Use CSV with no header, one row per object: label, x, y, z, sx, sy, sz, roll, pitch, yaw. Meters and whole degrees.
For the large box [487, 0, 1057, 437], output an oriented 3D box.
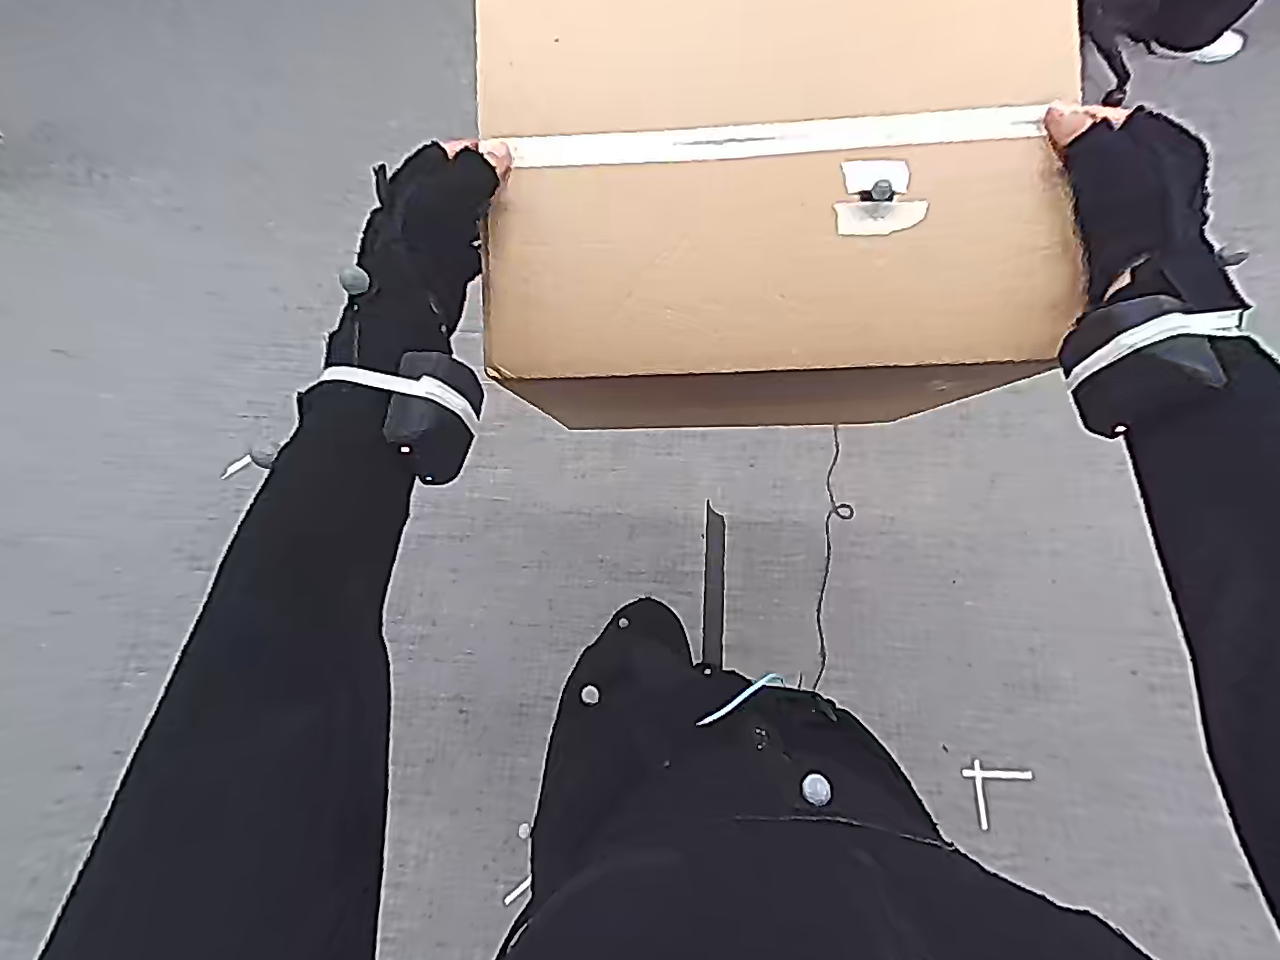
large box,0.094,-0.223,0.541,0.408,0.320,0.320,-2,89,2
